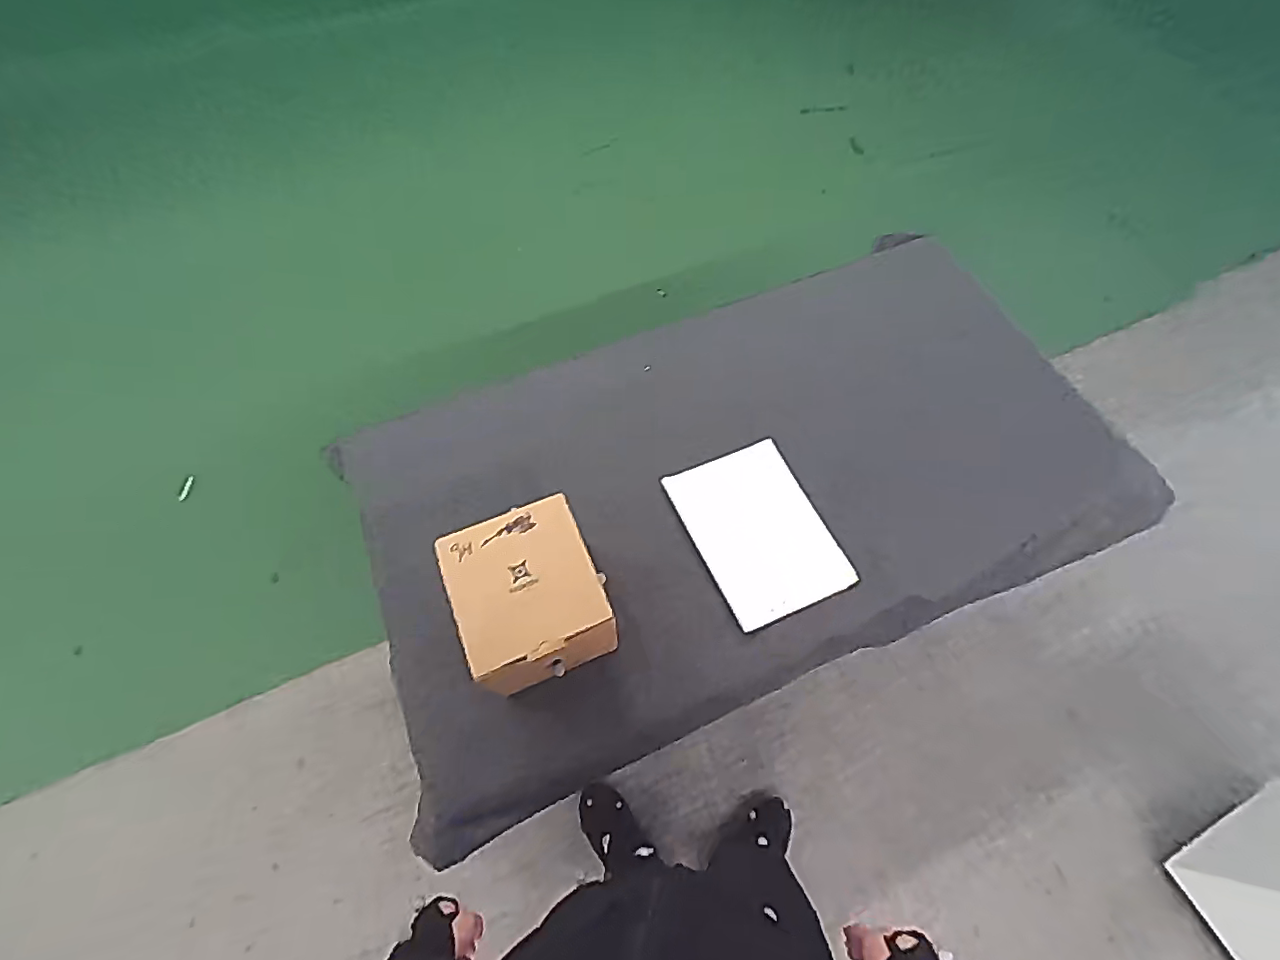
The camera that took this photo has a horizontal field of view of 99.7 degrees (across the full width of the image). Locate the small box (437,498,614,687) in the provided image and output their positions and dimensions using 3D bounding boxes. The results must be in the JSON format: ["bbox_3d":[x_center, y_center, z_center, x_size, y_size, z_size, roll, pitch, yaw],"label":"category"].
[{"bbox_3d":[-0.137,0.155,0.702,0.168,0.176,0.179,-21,66,-12],"label":"small box"}]
